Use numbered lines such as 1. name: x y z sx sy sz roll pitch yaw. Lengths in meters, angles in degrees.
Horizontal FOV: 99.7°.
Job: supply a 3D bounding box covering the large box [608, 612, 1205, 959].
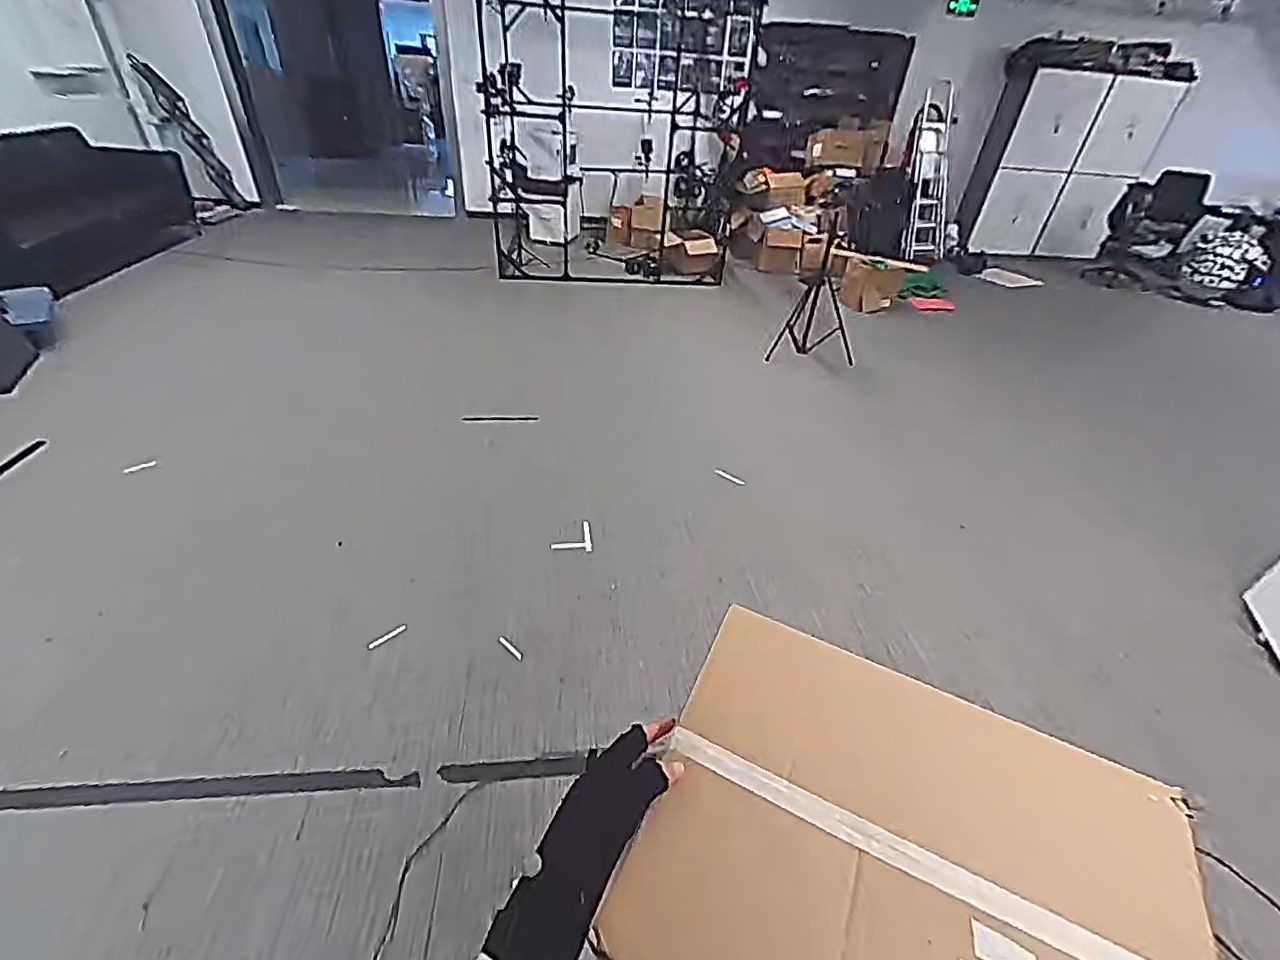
1. large box: 0.213 0.405 0.539 0.408 0.320 0.320 21 49 18
